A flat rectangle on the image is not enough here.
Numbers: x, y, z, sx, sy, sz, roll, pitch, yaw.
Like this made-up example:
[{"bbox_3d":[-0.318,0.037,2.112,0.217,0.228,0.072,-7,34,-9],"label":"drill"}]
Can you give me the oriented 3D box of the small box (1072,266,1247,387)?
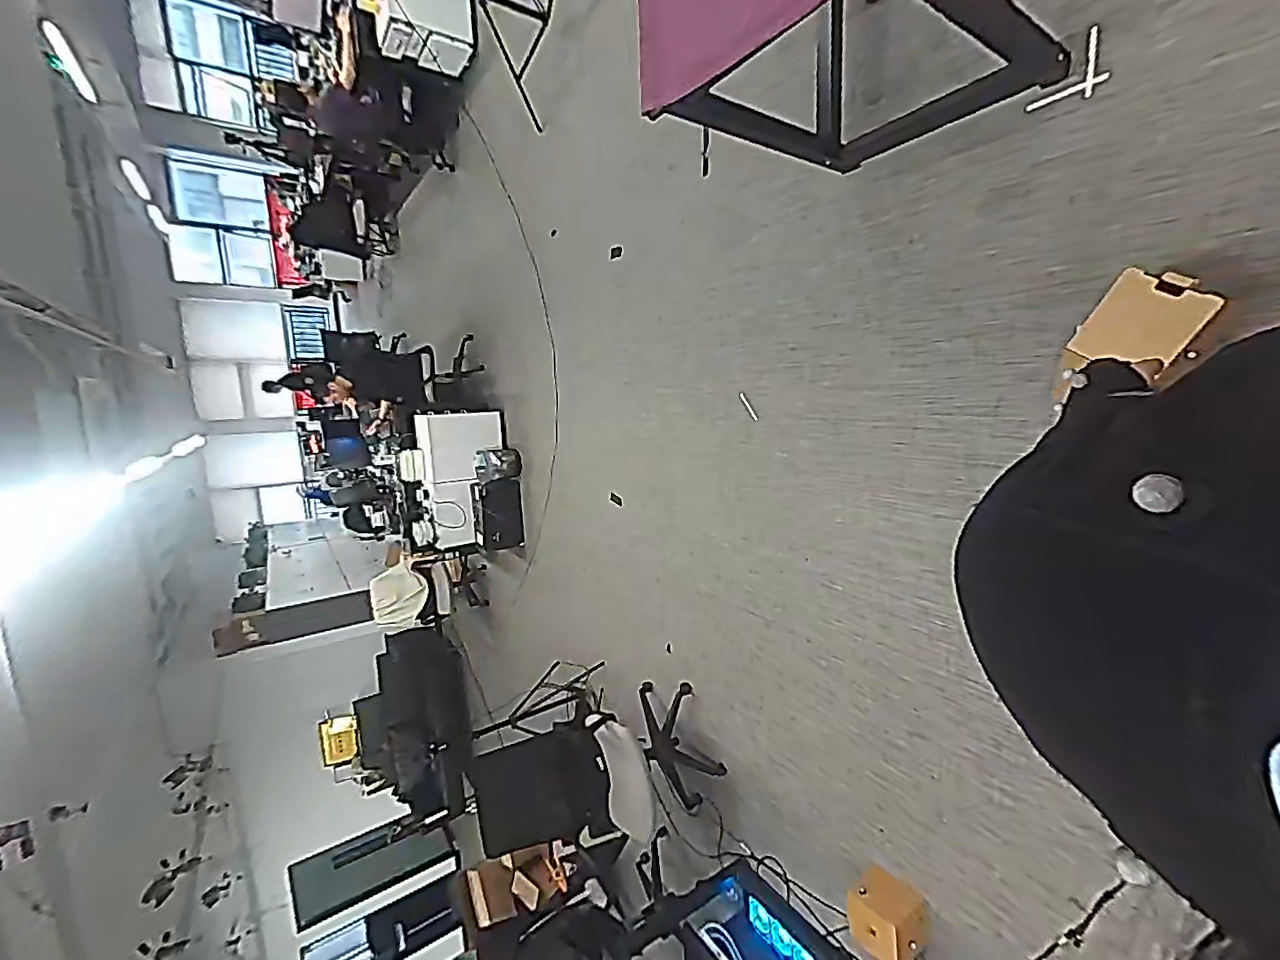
[{"bbox_3d":[1.024,-0.299,1.067,0.168,0.176,0.179,51,135,38],"label":"small box"}]
